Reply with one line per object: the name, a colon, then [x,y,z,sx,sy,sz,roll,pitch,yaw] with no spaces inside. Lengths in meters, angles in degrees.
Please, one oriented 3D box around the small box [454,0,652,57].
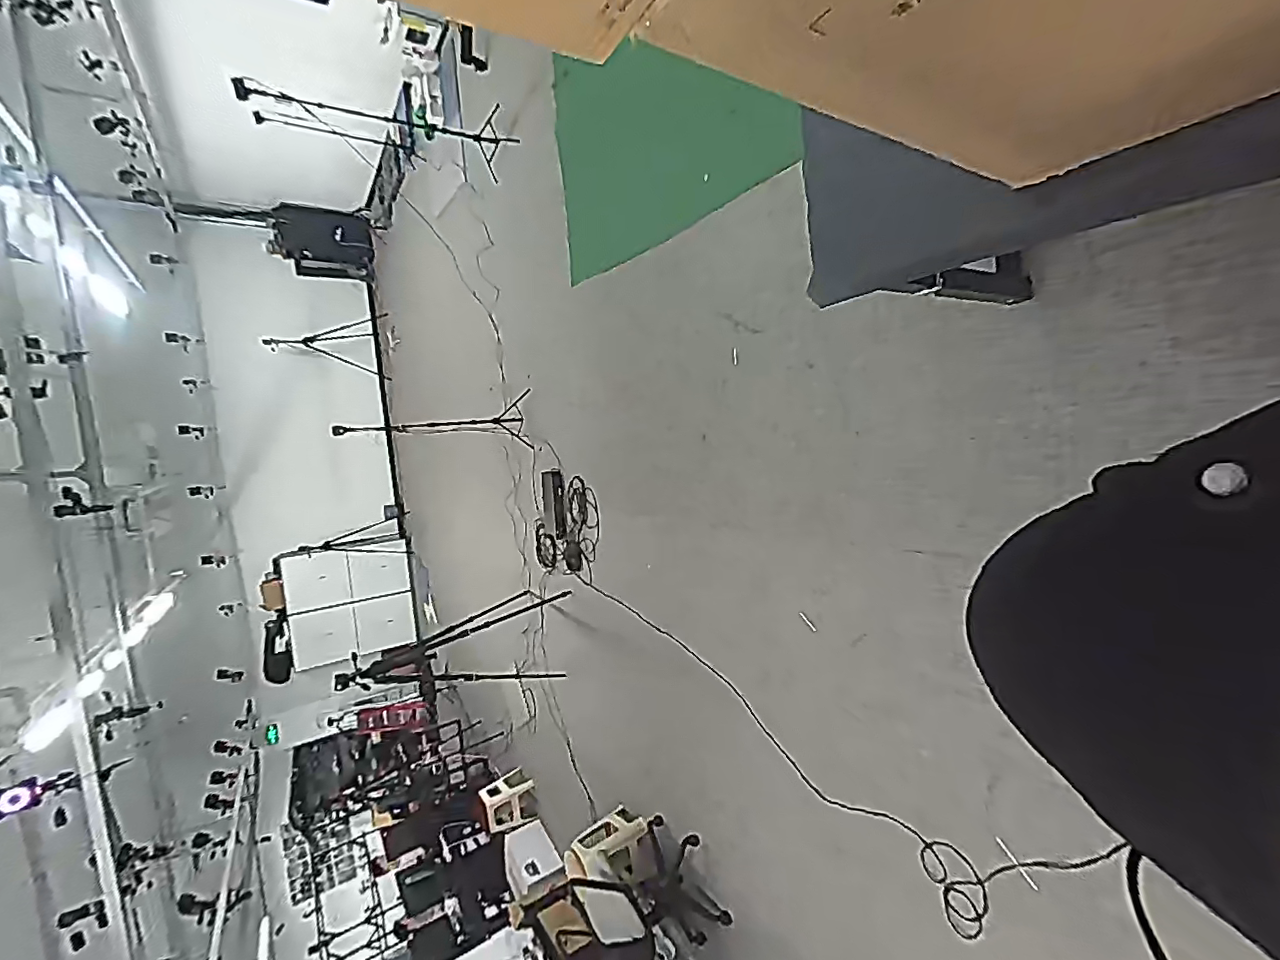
small box: [-0.063,-0.399,0.310,0.168,0.176,0.179,8,103,59]
